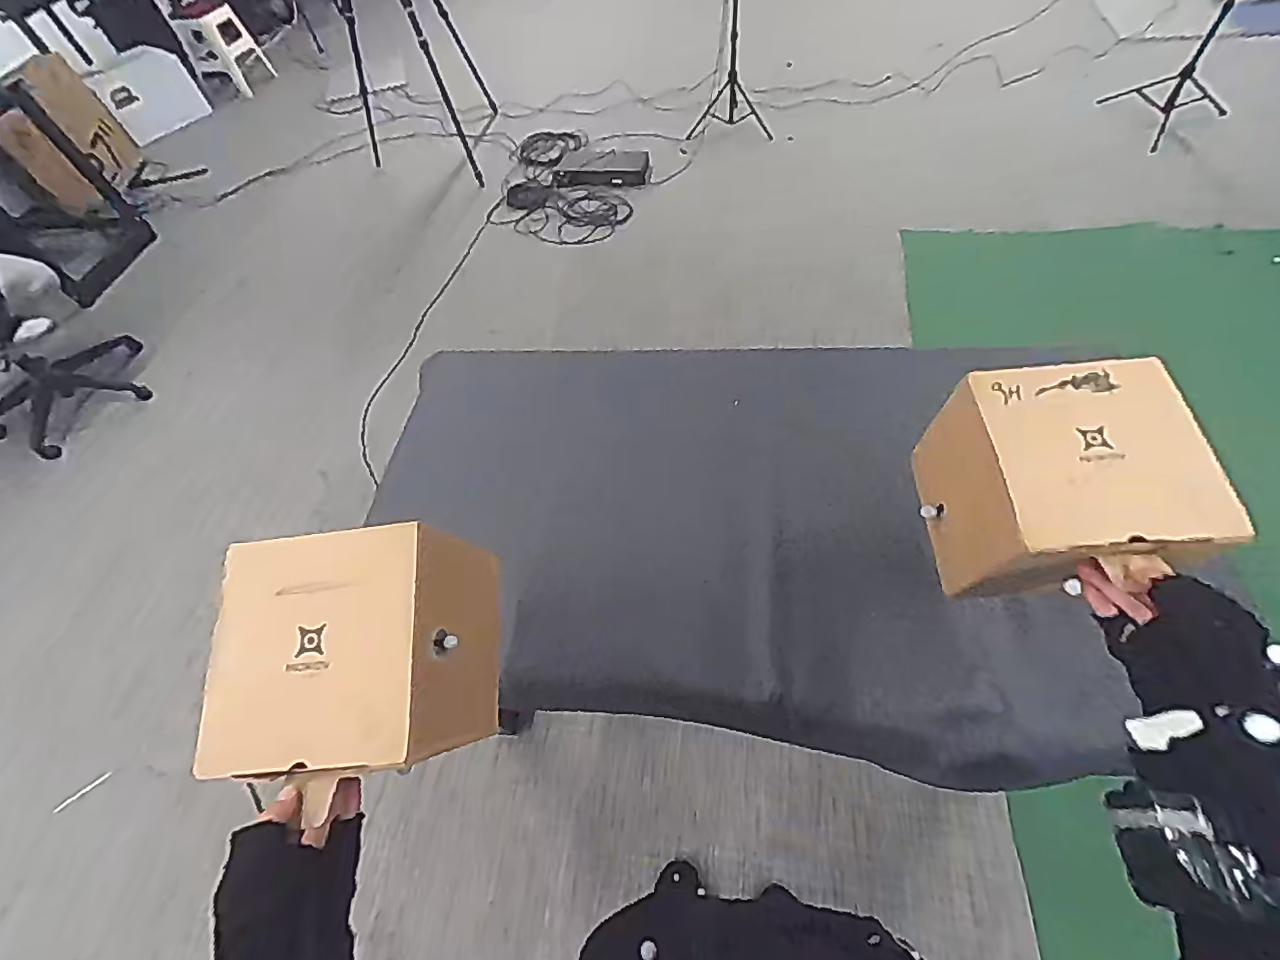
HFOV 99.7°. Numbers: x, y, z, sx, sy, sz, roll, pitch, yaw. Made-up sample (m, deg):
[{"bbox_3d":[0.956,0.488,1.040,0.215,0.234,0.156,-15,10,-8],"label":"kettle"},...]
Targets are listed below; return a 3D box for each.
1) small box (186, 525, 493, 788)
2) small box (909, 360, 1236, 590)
[{"bbox_3d":[-0.236,0.149,0.474,0.168,0.176,0.179,-7,71,4],"label":"small box"},{"bbox_3d":[0.390,0.008,0.533,0.168,0.176,0.179,-3,64,6],"label":"small box"}]
